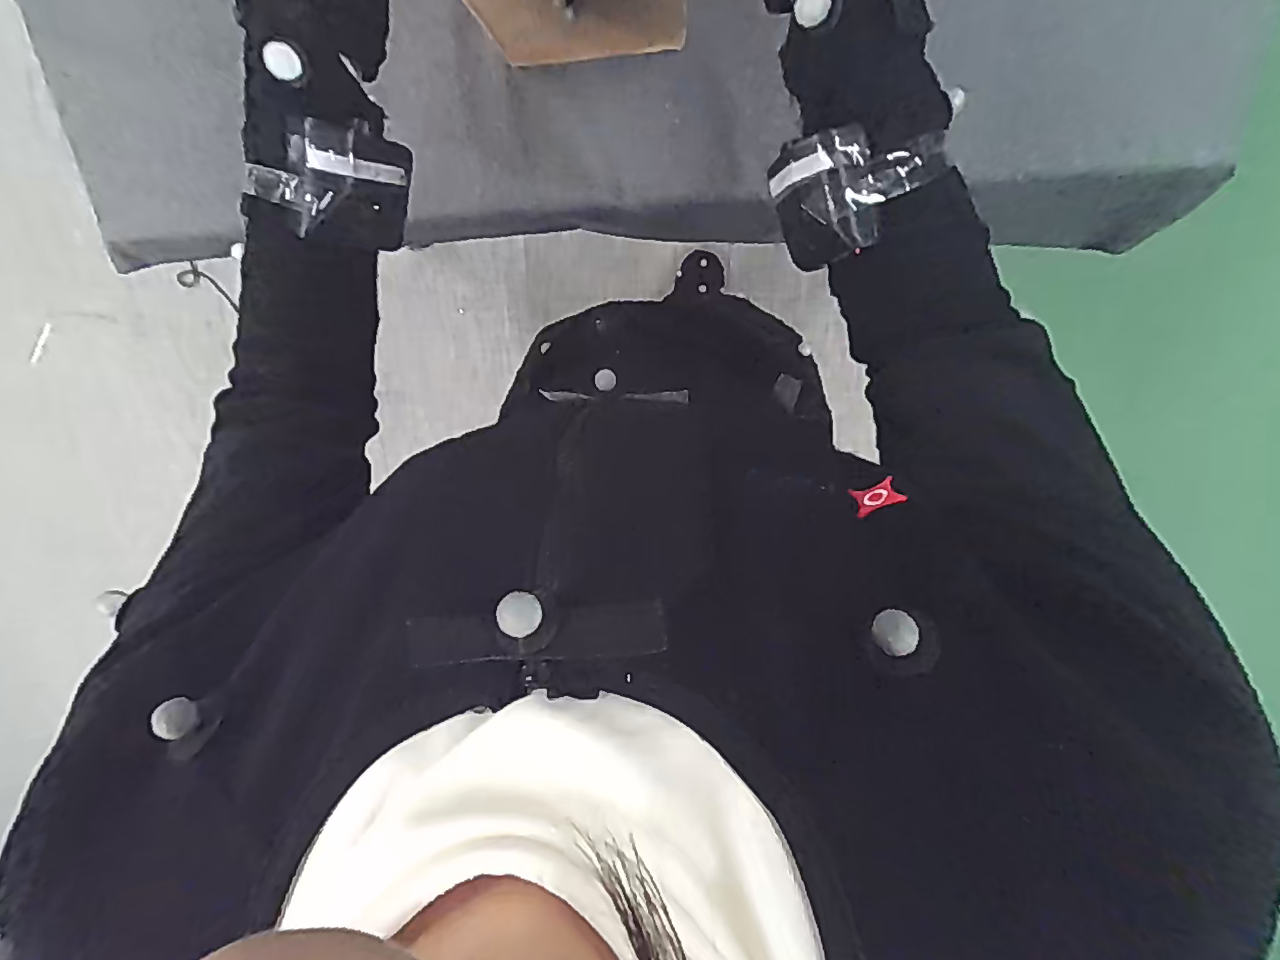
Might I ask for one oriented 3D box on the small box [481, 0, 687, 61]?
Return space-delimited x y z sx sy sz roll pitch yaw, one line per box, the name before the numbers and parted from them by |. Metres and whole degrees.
small box | -0.050 -0.468 0.435 0.179 0.176 0.168 -2 112 4
